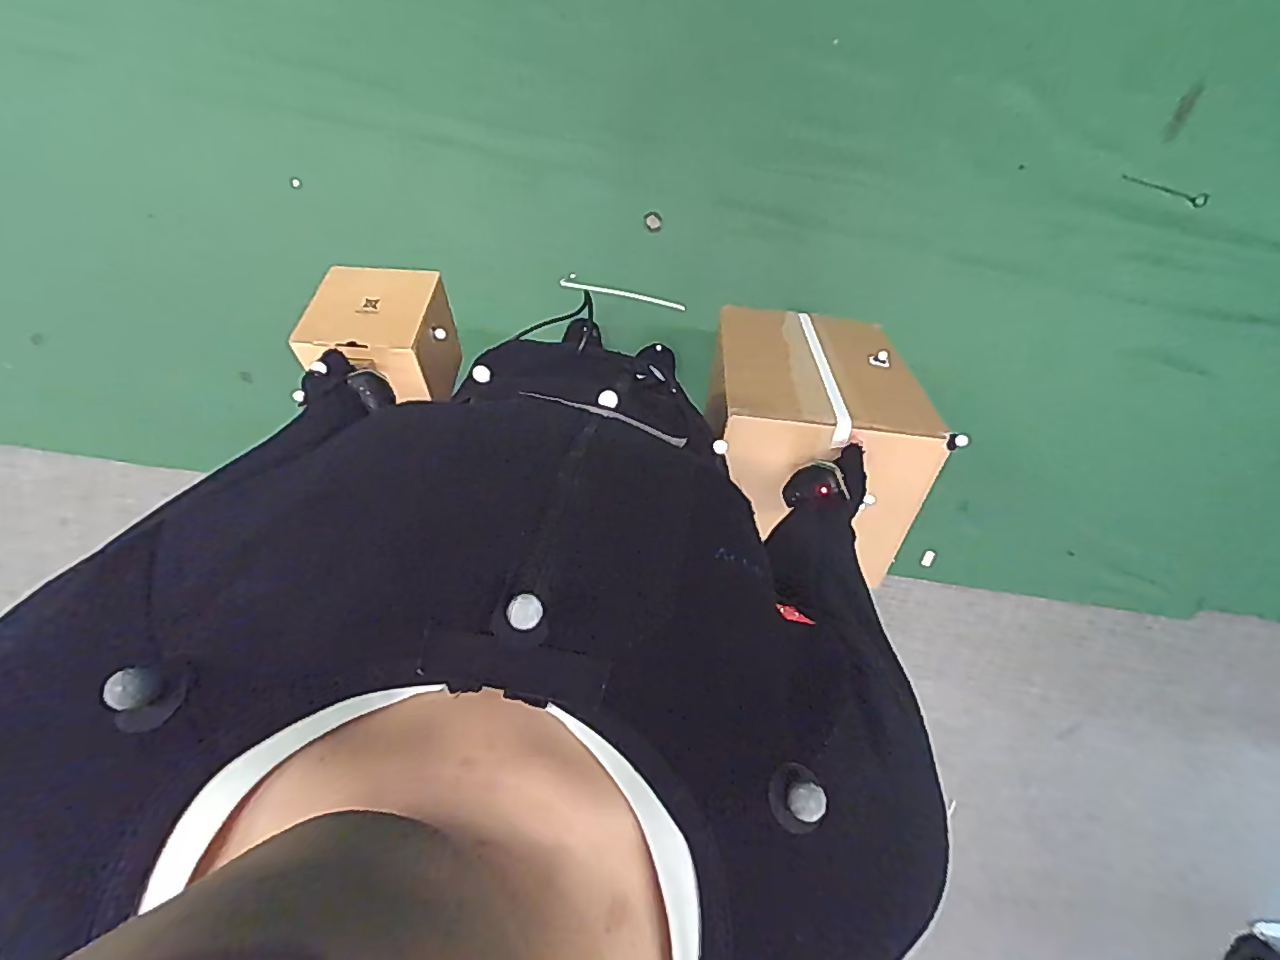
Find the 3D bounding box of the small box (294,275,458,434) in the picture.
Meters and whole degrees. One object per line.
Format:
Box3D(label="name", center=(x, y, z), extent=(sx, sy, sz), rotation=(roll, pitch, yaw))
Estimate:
Box3D(label="small box", center=(-0.396, -0.196, 0.852), extent=(0.168, 0.179, 0.176), rotation=(2, 144, -3))
